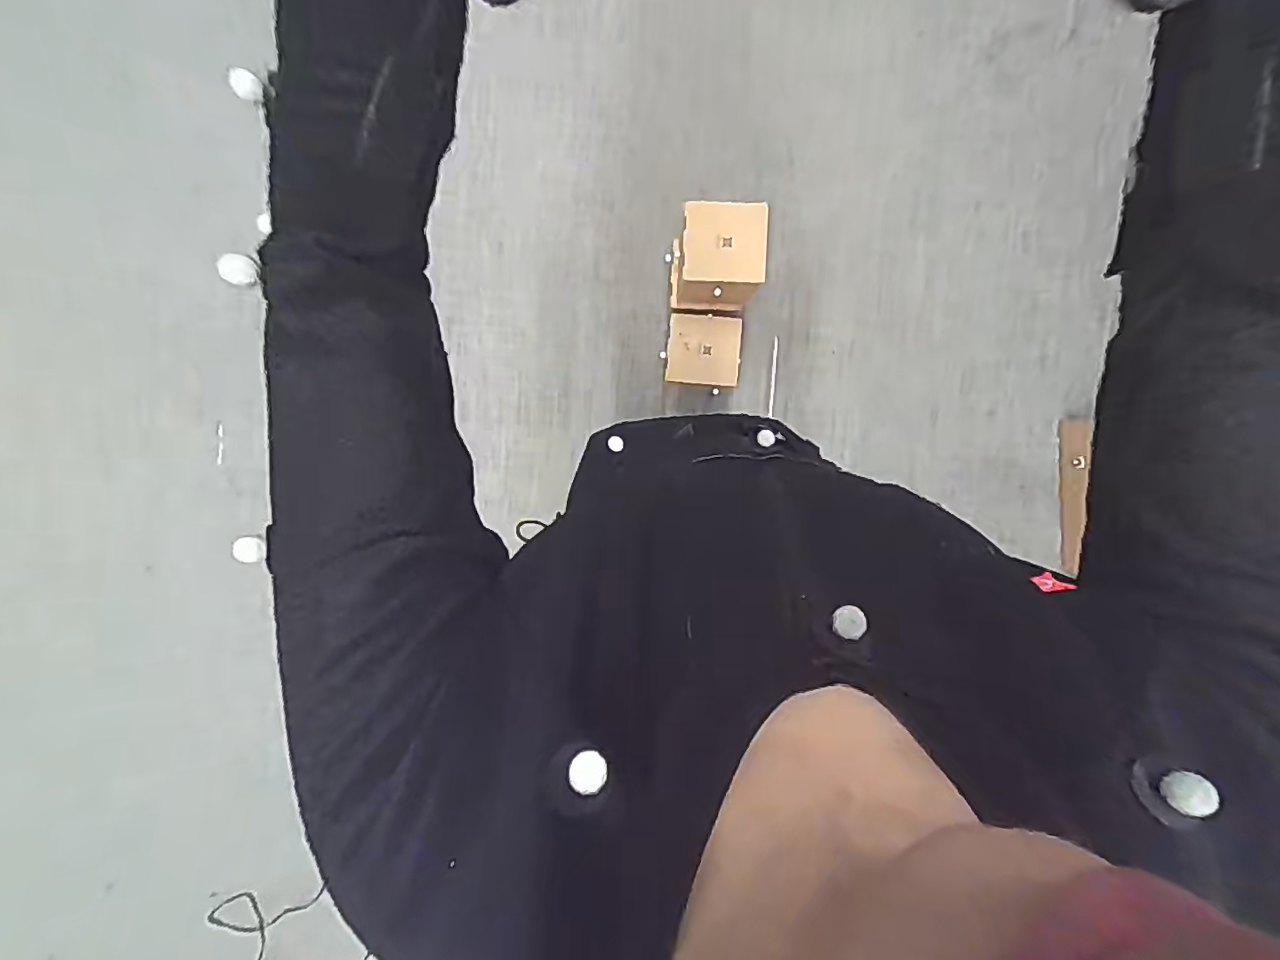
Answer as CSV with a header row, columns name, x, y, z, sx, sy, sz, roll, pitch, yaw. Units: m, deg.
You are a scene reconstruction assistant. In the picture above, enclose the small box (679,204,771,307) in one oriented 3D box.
name,x,y,z,sx,sy,sz,roll,pitch,yaw
small box,0.183,-0.492,1.206,0.179,0.176,0.168,2,92,1
